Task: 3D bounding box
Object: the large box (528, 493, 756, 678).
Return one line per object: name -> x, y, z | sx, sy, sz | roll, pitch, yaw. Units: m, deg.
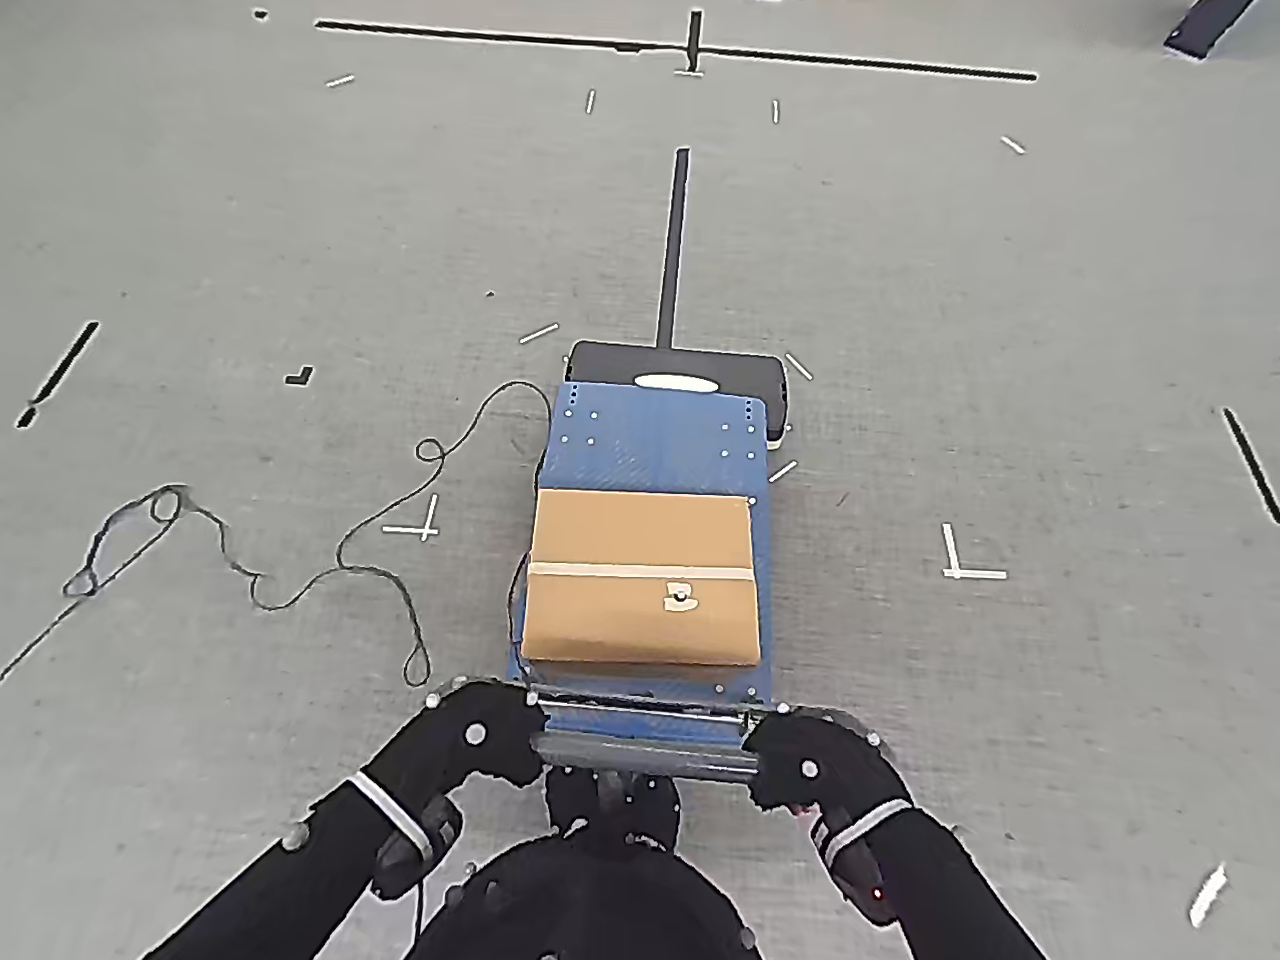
large box -> -0.004, 0.233, 1.125 | 0.408, 0.320, 0.320 | 3, 65, -2
